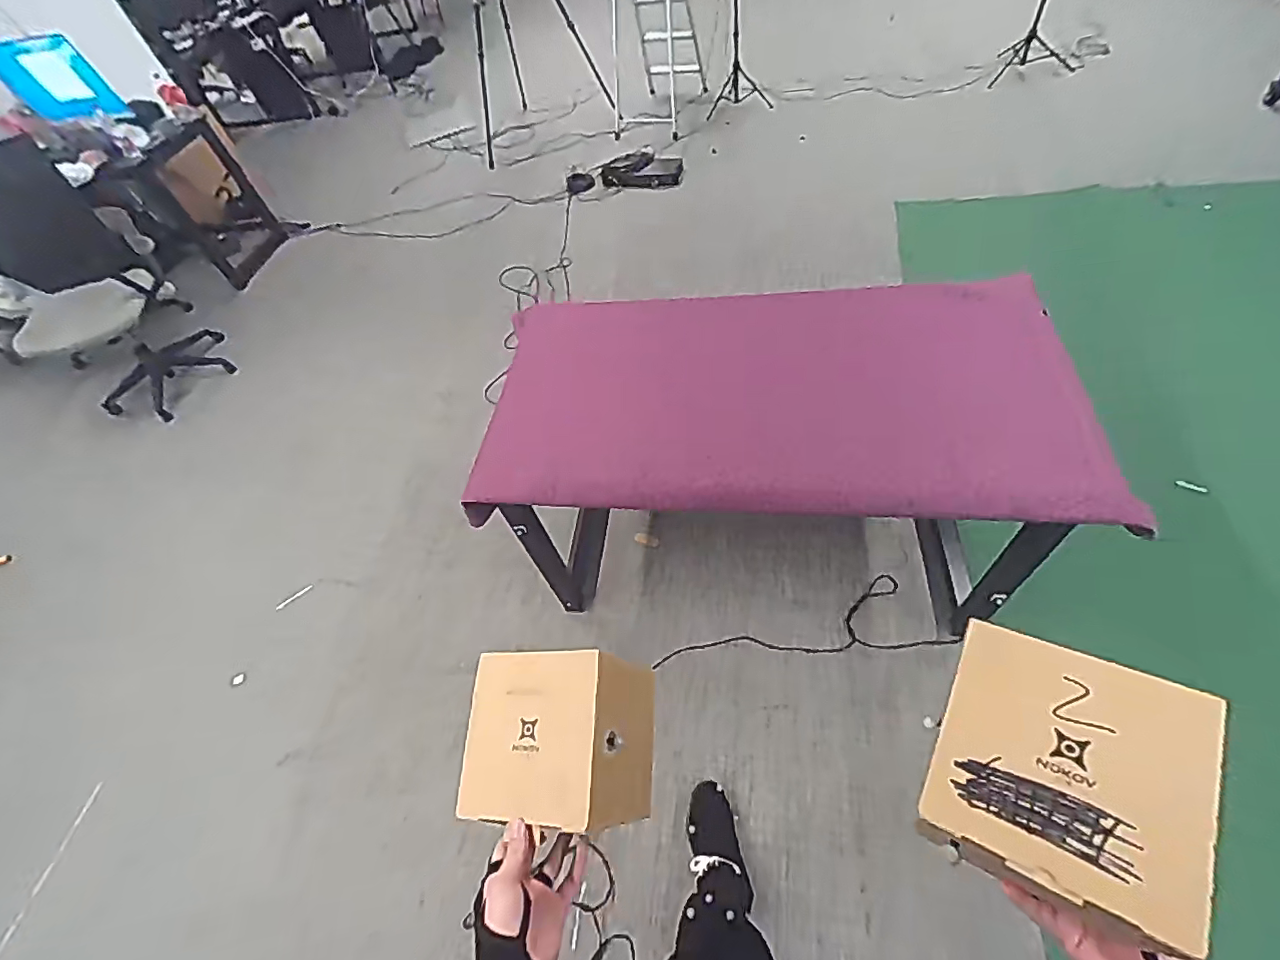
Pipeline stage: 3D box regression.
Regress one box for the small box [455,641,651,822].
[{"bbox_3d":[-0.093,0.299,0.661,0.168,0.176,0.179,-8,62,22],"label":"small box"}]
